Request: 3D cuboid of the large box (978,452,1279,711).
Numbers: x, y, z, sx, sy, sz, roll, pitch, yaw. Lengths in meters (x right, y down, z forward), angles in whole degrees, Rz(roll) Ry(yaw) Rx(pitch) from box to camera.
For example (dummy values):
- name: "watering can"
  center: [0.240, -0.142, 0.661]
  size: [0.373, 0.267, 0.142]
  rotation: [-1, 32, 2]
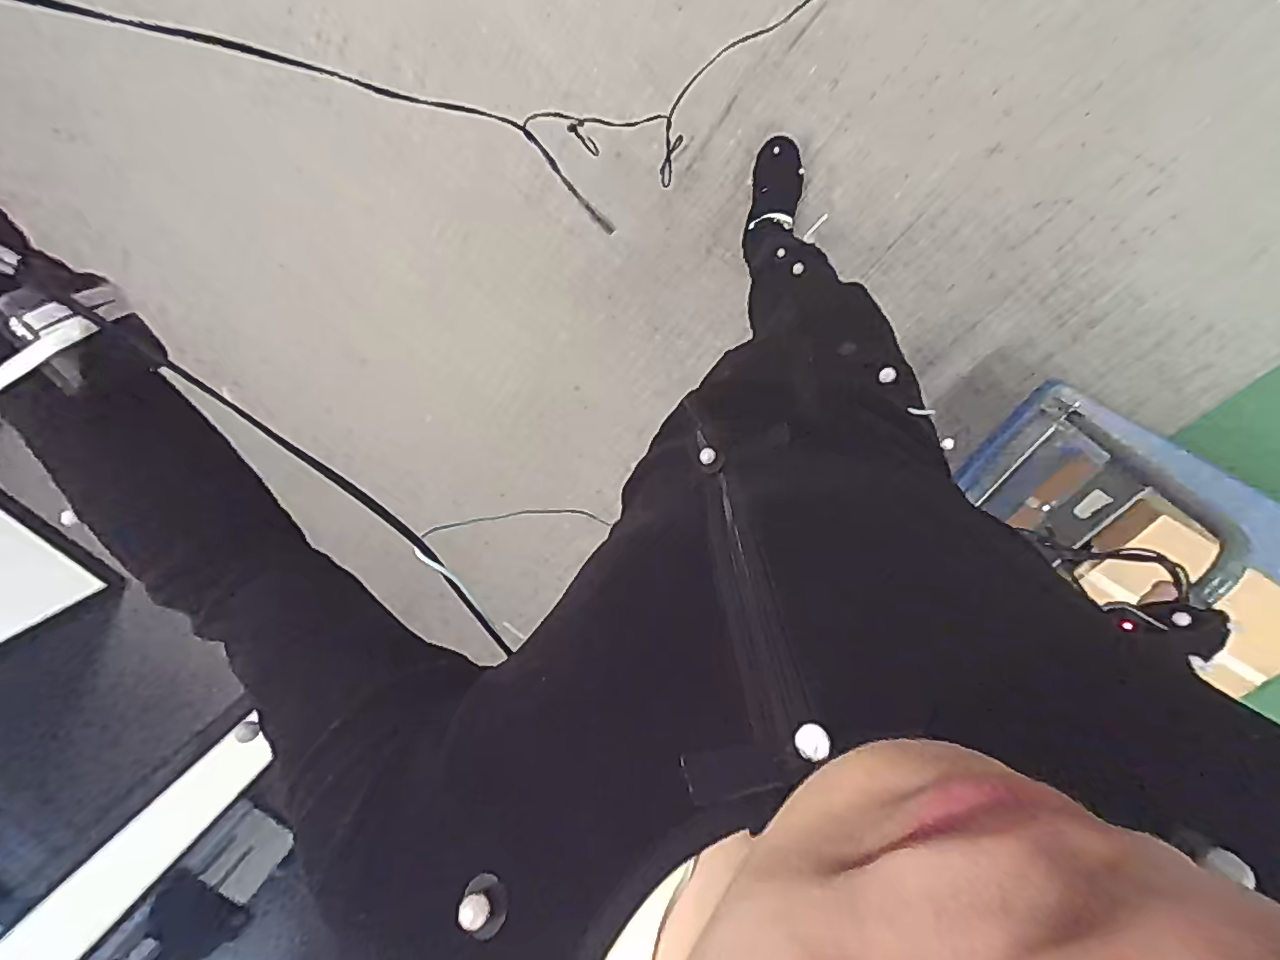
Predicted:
- name: "large box"
  center: [1.054, 0.203, 1.172]
  size: [0.408, 0.320, 0.320]
  rotation: [32, 119, -1]
